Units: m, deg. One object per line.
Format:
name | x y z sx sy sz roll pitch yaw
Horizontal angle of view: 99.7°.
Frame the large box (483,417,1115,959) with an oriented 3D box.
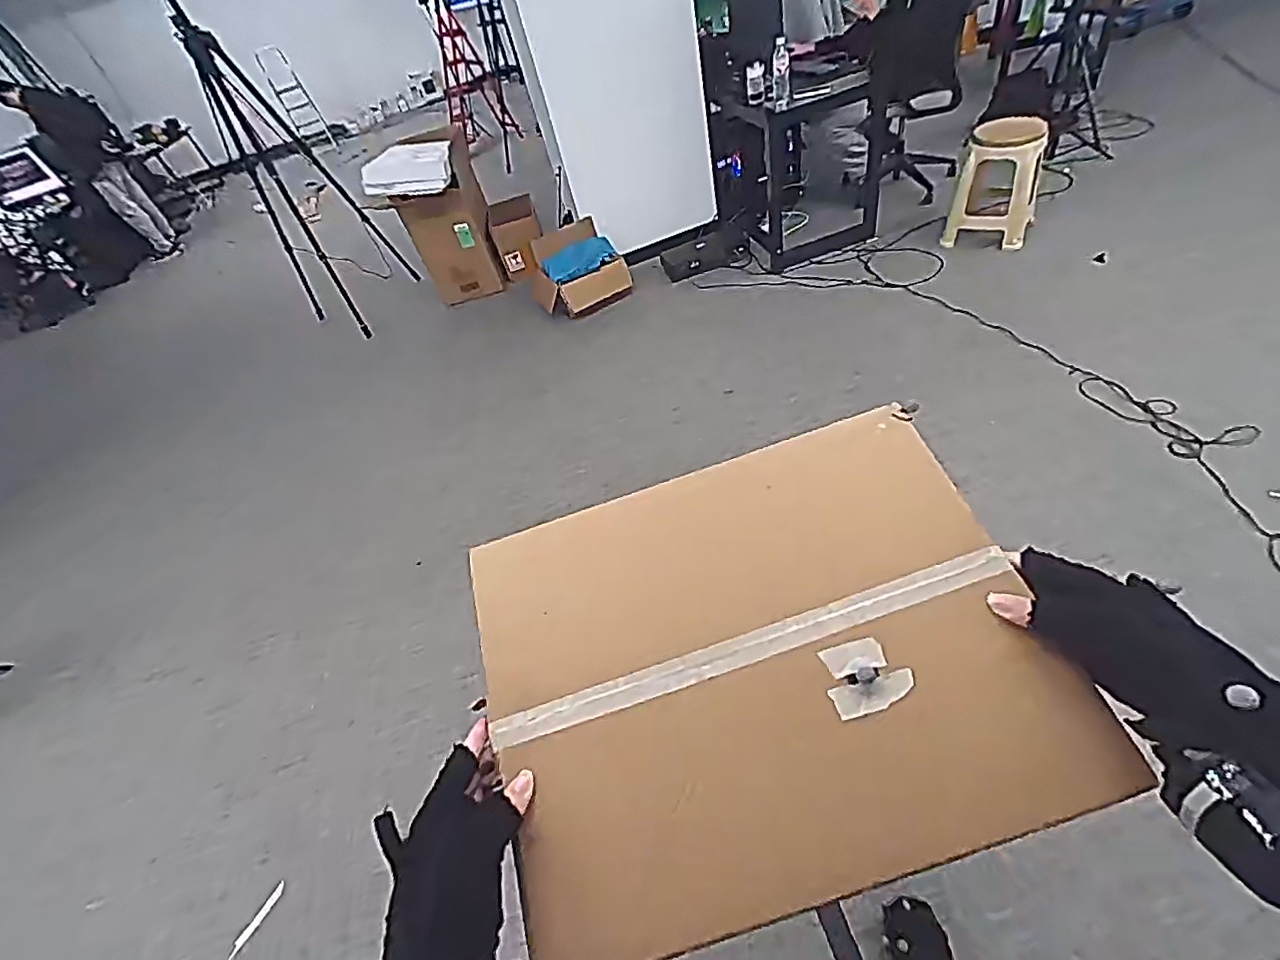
large box | 0.107 0.202 0.554 0.408 0.320 0.320 -19 61 0
